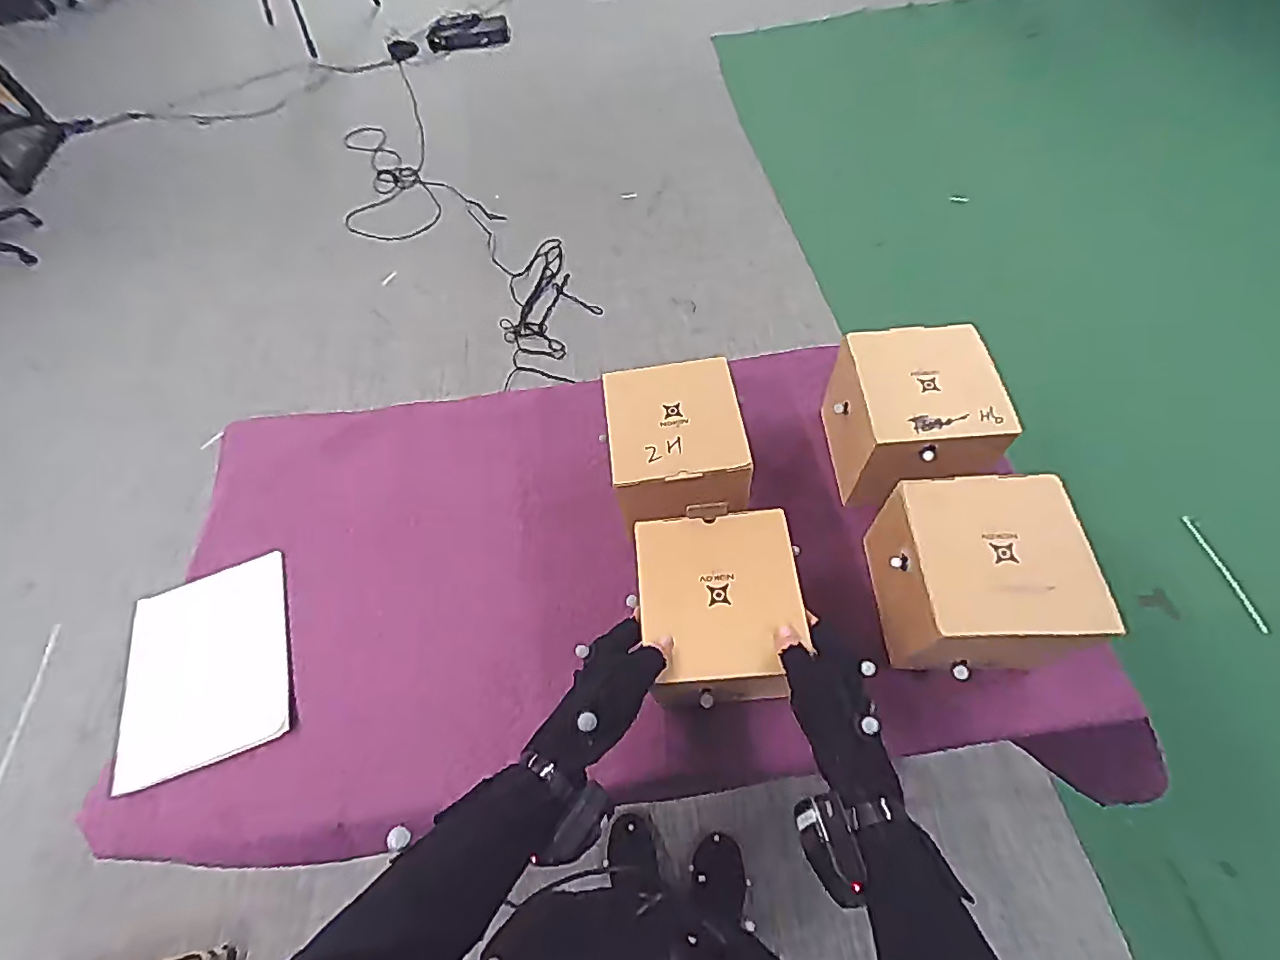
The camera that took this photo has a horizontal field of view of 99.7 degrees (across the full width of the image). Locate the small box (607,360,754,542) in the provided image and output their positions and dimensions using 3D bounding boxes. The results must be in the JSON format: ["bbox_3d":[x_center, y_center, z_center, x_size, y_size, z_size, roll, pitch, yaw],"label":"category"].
[{"bbox_3d":[0.049,-0.034,0.732,0.168,0.176,0.179,-7,60,1],"label":"small box"}]

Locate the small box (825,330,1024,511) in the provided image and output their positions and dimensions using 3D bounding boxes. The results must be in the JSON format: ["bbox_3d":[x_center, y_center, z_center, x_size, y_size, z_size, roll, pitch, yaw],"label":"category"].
[{"bbox_3d":[0.360,-0.075,0.727,0.168,0.176,0.179,-4,59,4],"label":"small box"}]
